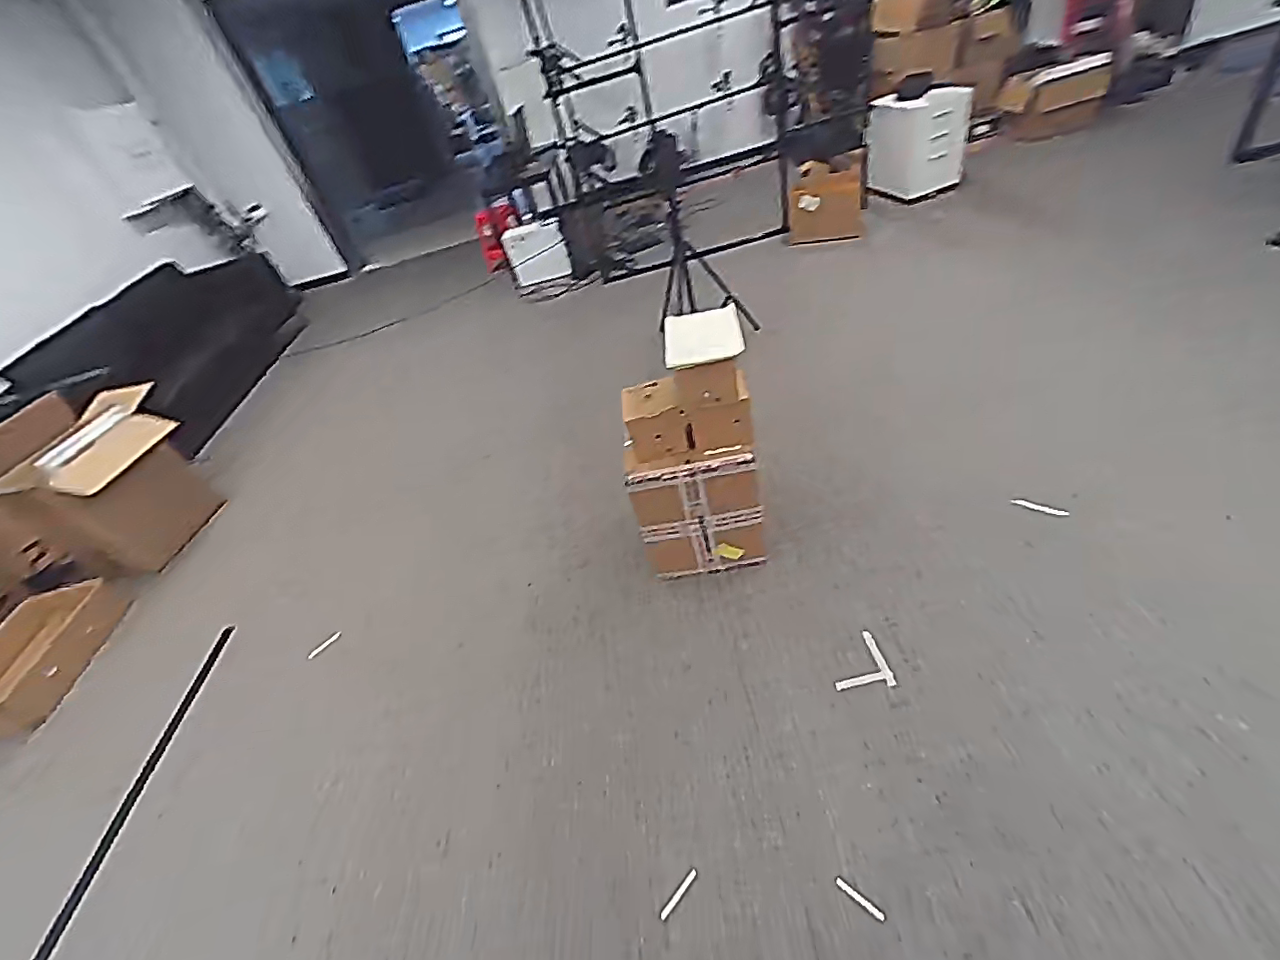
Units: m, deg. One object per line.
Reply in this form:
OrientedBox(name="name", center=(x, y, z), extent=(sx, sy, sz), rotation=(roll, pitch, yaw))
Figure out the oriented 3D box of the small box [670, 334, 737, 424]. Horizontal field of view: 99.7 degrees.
OrientedBox(name="small box", center=(0.177, -0.280, 1.509), extent=(0.168, 0.176, 0.179), rotation=(-8, 43, 8))
